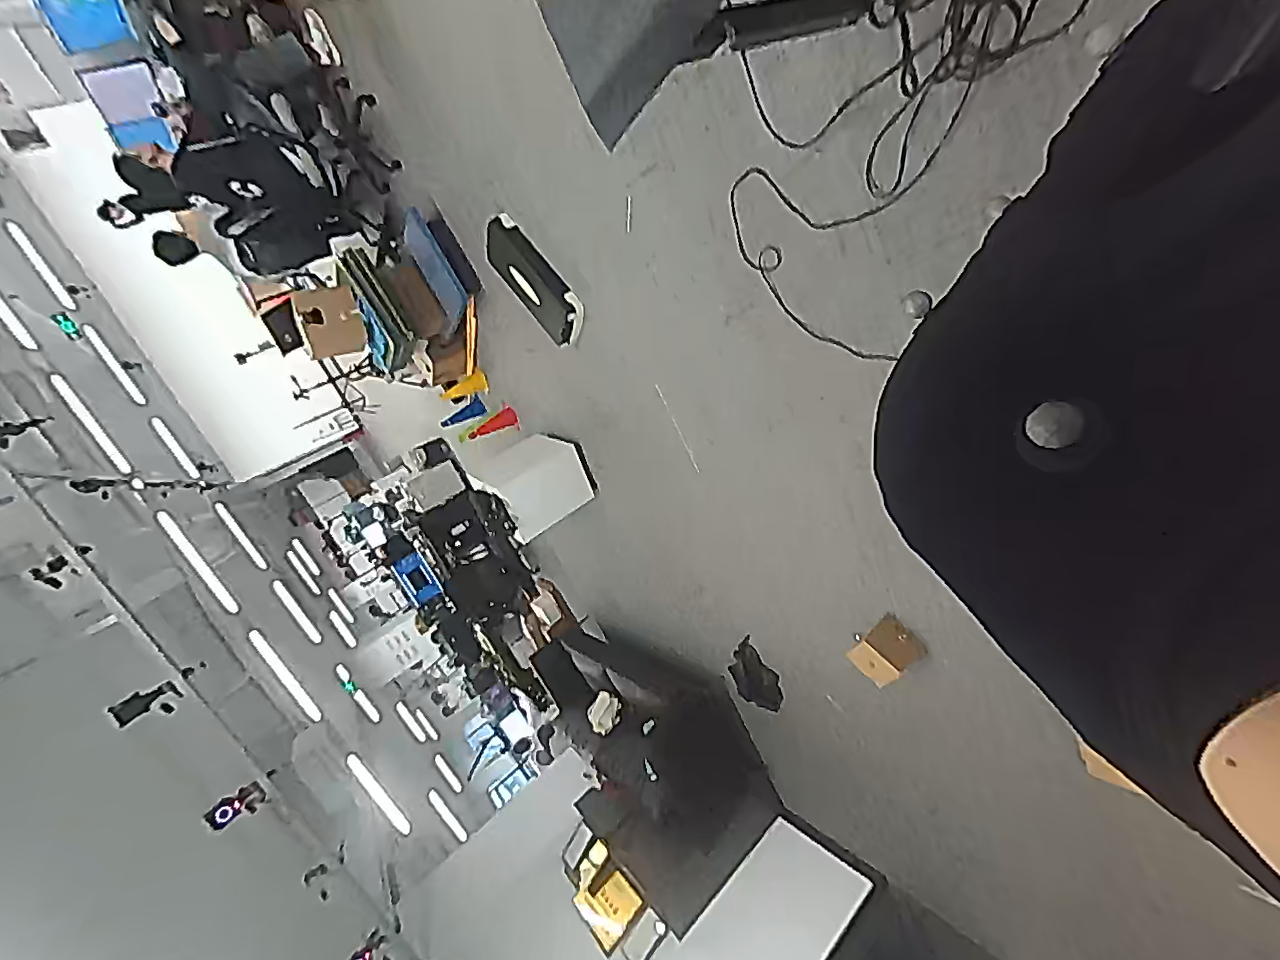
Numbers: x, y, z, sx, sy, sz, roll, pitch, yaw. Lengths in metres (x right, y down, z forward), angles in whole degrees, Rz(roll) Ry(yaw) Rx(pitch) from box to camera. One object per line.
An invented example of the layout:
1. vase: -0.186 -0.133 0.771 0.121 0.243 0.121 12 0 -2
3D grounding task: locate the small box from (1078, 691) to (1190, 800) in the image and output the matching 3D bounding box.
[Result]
1. small box: 1.323 0.696 1.443 0.179 0.176 0.168 -4 117 61

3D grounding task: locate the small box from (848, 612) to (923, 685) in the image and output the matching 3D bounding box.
1. small box: 0.927 0.633 2.037 0.168 0.176 0.179 42 150 23
